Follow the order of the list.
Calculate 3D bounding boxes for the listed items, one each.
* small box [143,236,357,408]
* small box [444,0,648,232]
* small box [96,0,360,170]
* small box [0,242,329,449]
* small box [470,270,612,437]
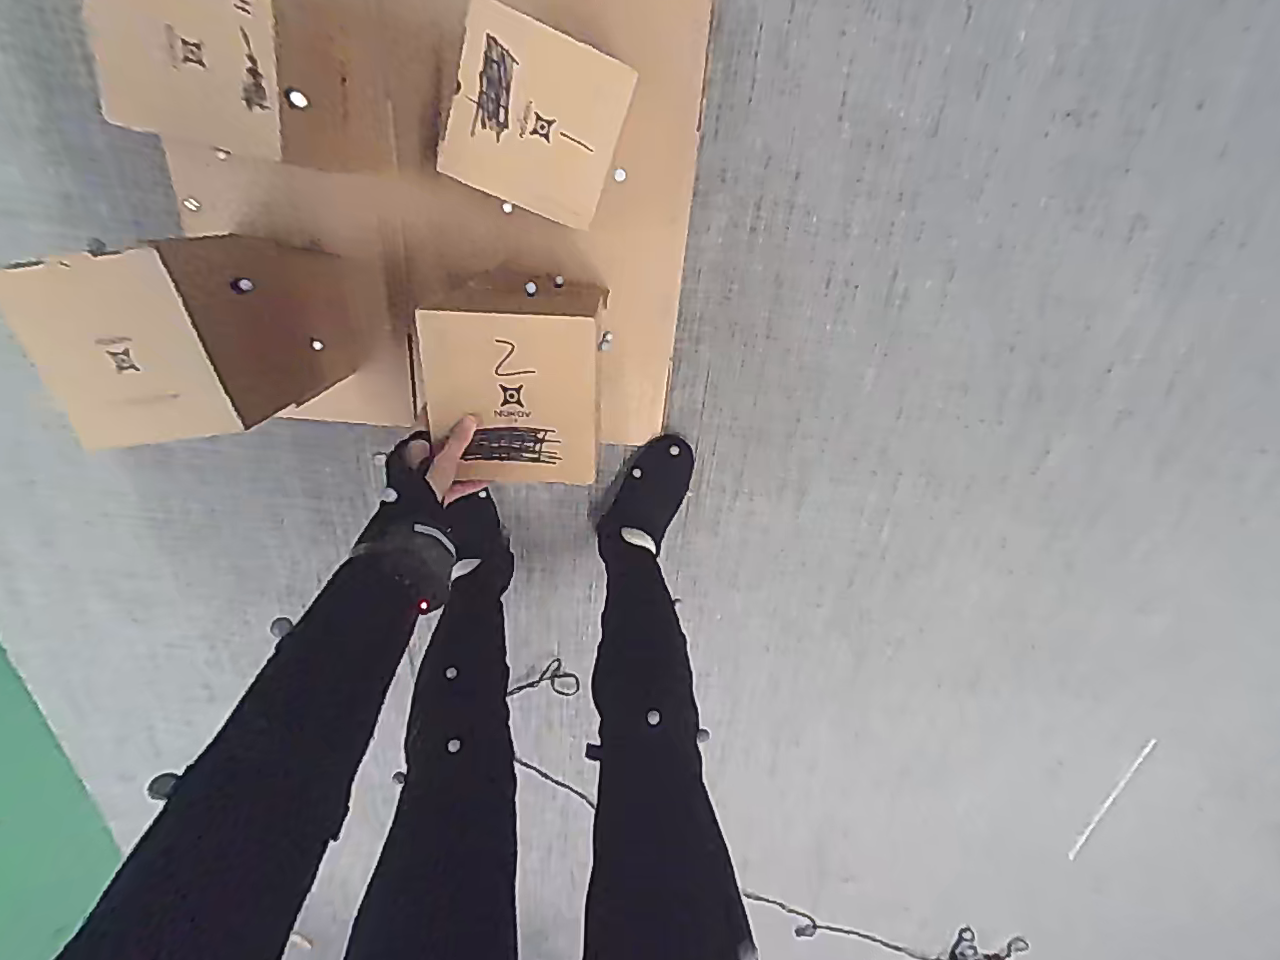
[{"bbox_3d":[-0.499,-0.217,0.725,0.168,0.176,0.179,8,115,-7],"label":"small box"},{"bbox_3d":[-0.105,-0.408,0.634,0.179,0.176,0.168,18,114,-12],"label":"small box"},{"bbox_3d":[-0.441,-0.459,0.604,0.179,0.176,0.168,10,115,-6],"label":"small box"},{"bbox_3d":[-0.474,-0.151,0.574,0.168,0.176,0.179,-6,116,2],"label":"small box"},{"bbox_3d":[-0.130,-0.180,0.749,0.168,0.176,0.179,8,115,-6],"label":"small box"}]
